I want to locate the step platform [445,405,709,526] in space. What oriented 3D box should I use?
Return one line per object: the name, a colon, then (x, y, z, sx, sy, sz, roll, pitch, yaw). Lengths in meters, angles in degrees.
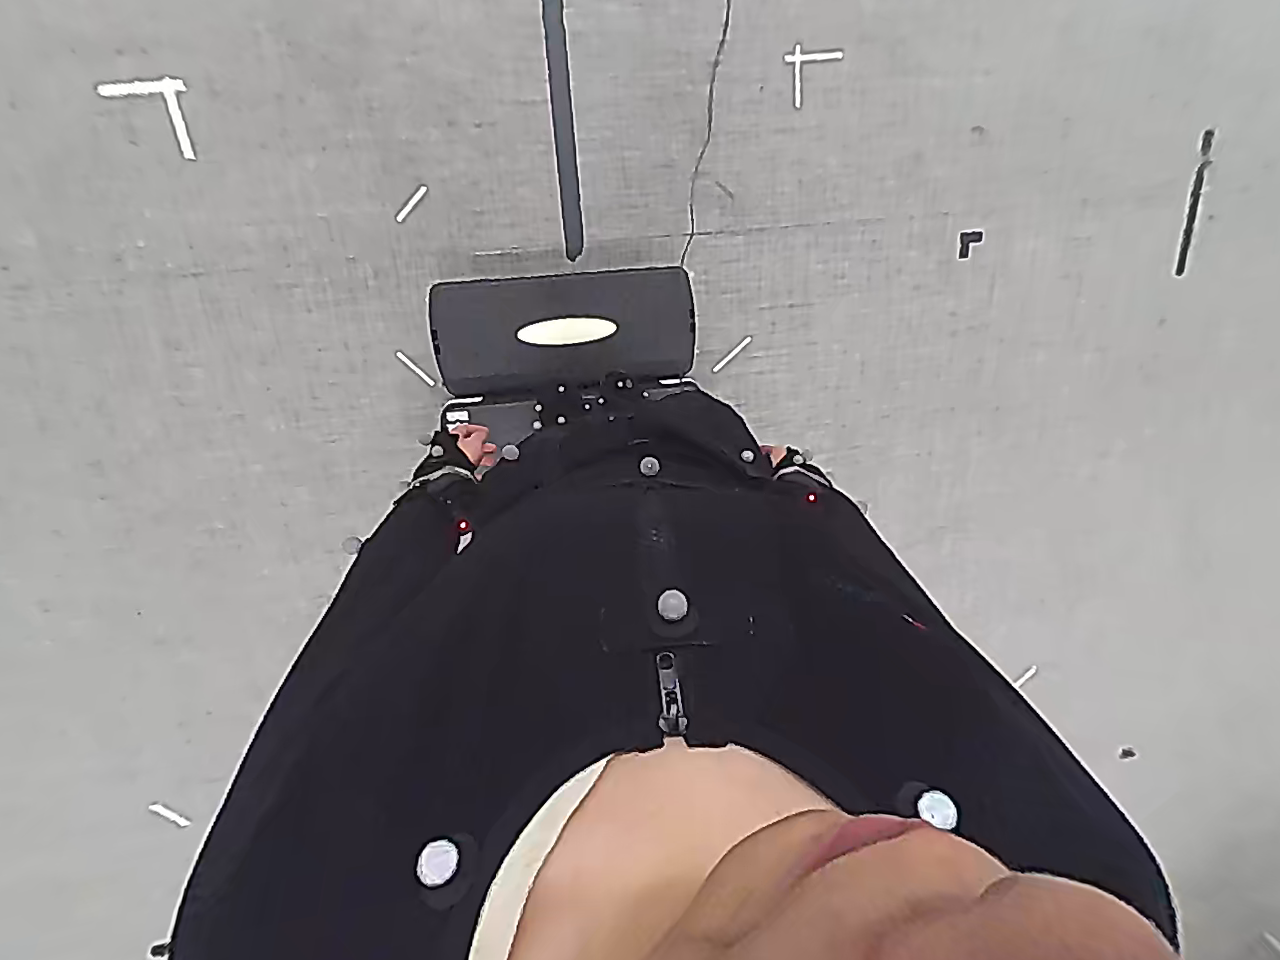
step platform: (-0.157, -0.043, 1.444, 0.684, 0.204, 0.286, -2, 103, -7)
